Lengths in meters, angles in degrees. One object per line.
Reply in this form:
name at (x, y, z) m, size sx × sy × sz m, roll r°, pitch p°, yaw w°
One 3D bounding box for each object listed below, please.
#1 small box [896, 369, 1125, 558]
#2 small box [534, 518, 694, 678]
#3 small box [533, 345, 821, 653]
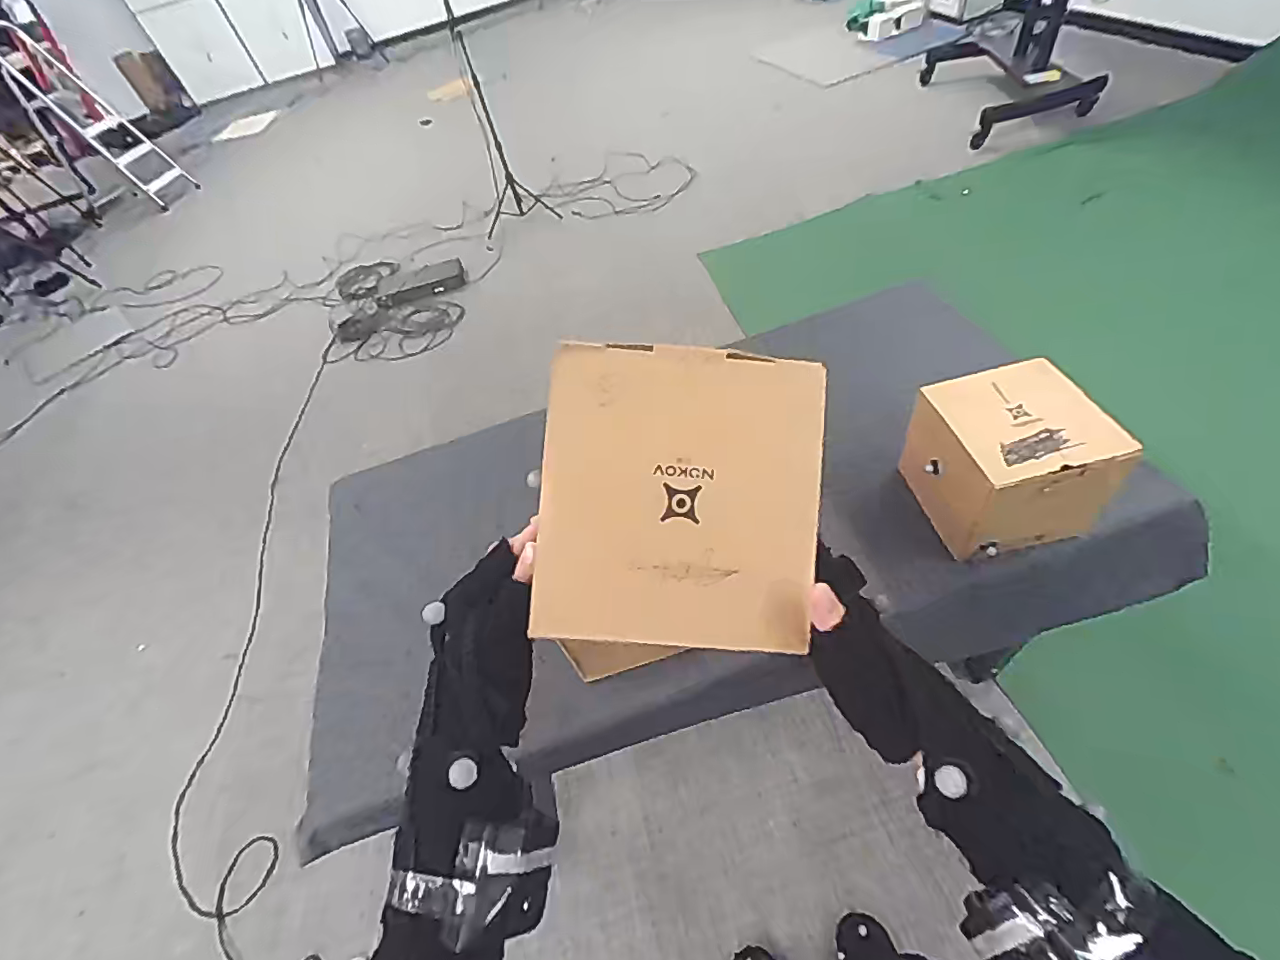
small box at (0.469, -0.014, 0.721) m, size 0.168 × 0.176 × 0.179 m, roll -13°, pitch 48°, yaw 3°
small box at (-0.023, 0.136, 0.713) m, size 0.179 × 0.176 × 0.168 m, roll -18°, pitch 48°, yaw -1°
small box at (0.020, 0.016, 0.404) m, size 0.168 × 0.176 × 0.179 m, roll 5°, pitch 87°, yaw -3°
